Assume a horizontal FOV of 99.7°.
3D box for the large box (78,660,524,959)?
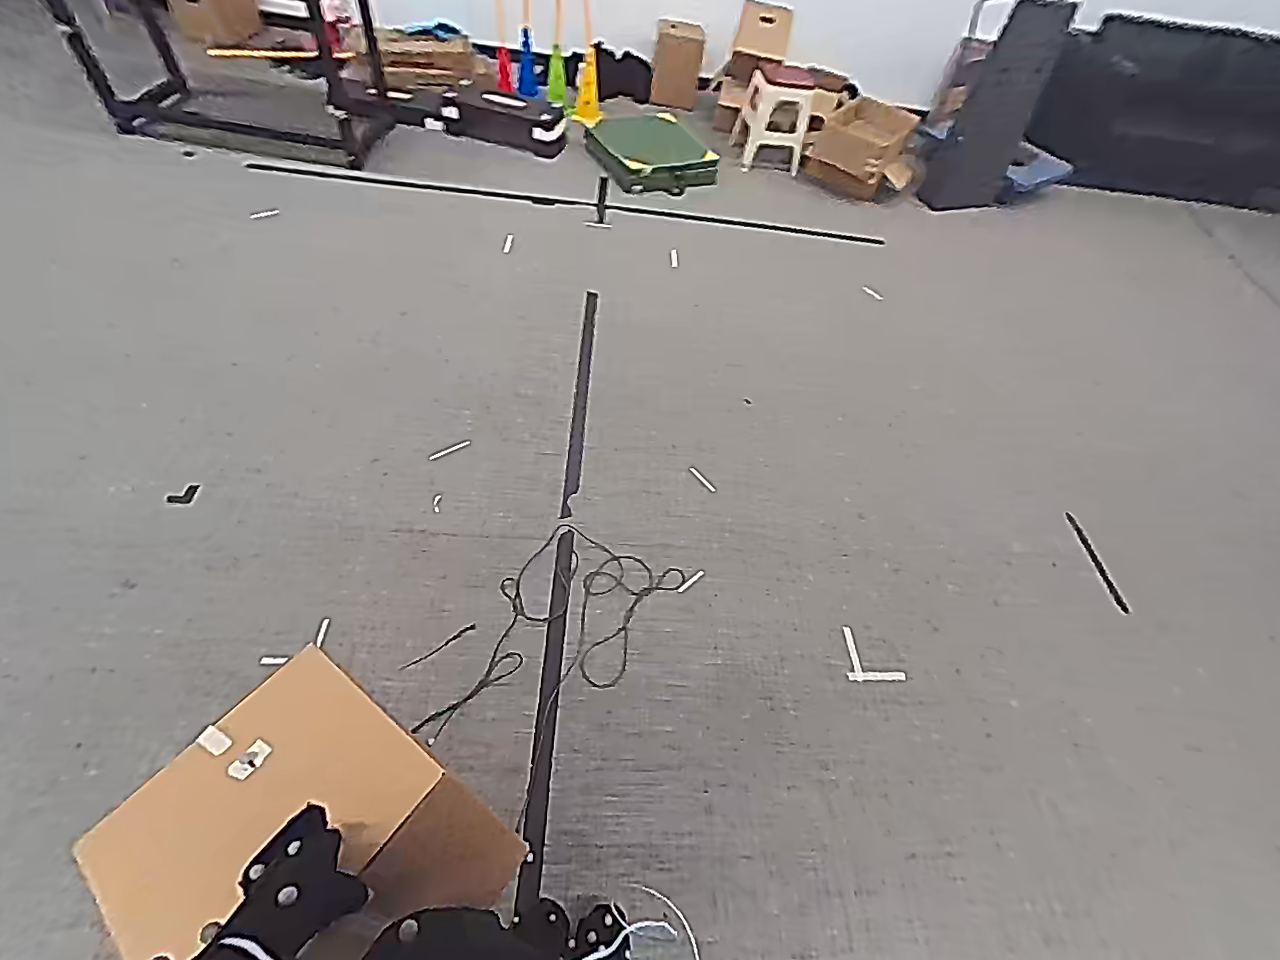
[{"bbox_3d":[-0.430,0.533,0.777,0.320,0.408,0.320,24,54,28],"label":"large box"}]
